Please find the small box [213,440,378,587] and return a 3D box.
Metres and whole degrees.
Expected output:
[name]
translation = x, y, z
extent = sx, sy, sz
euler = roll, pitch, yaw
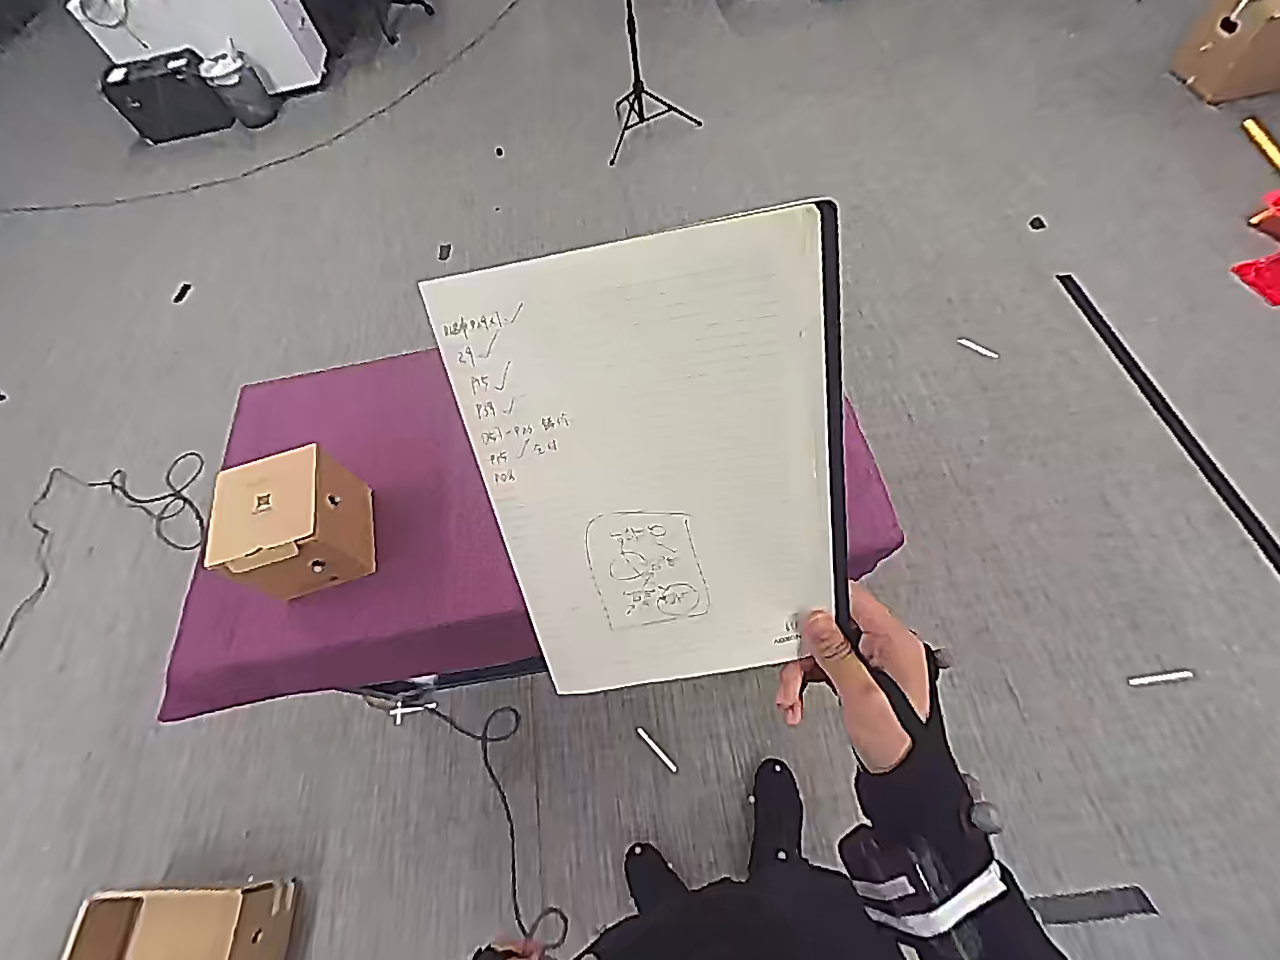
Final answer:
[small box]
translation = -0.560, 0.066, 0.904
extent = 0.168, 0.176, 0.179
euler = -16, 61, -2
